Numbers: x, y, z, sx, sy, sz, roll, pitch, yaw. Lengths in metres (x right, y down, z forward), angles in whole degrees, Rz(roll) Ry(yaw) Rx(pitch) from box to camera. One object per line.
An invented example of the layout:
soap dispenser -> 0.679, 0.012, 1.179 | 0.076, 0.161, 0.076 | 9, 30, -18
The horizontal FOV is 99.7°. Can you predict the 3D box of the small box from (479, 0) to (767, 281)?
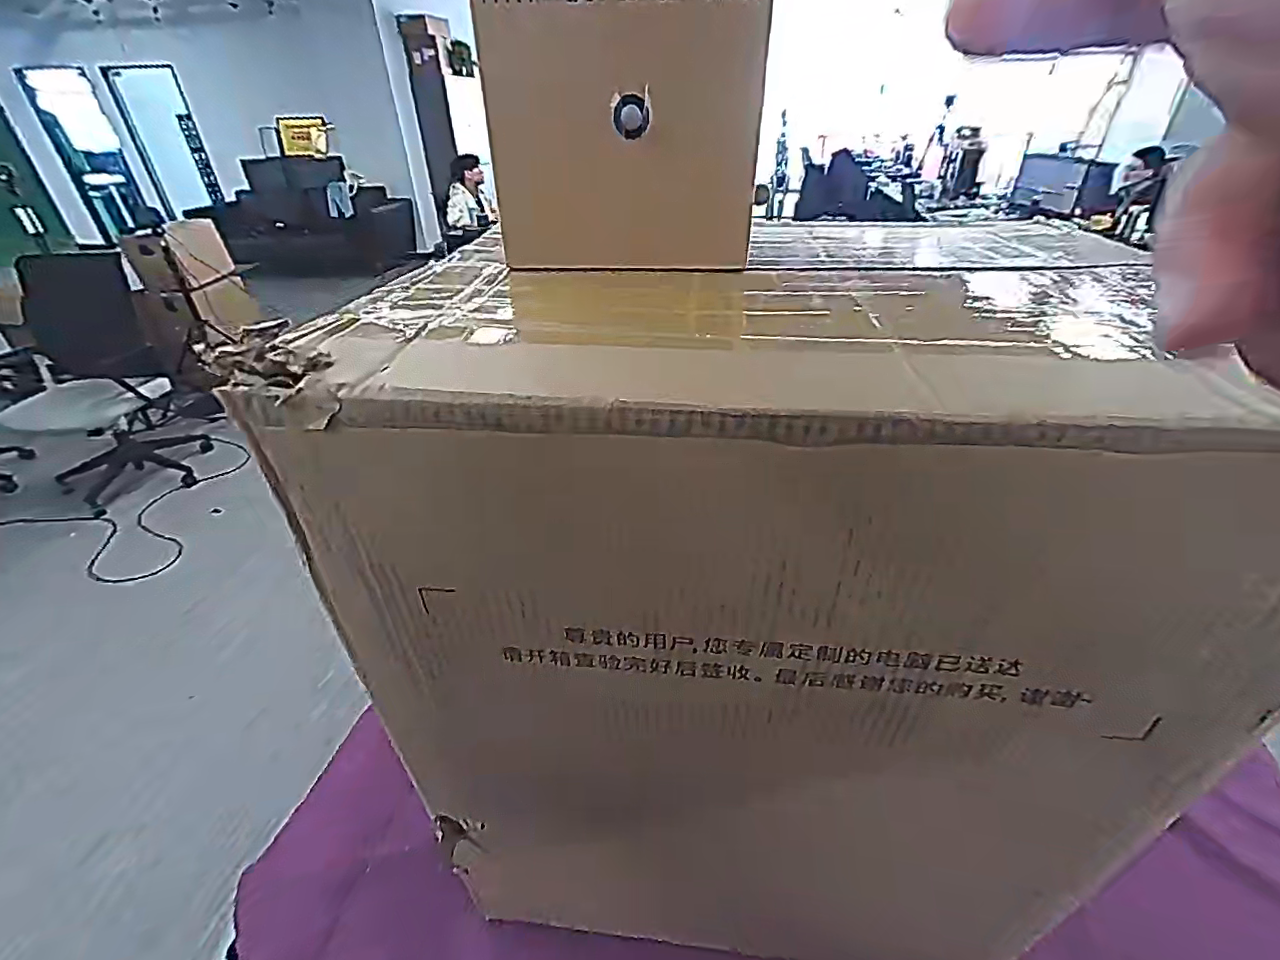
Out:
small box -> -0.007, -0.254, 0.397 | 0.168, 0.176, 0.179 | 1, 34, 2
